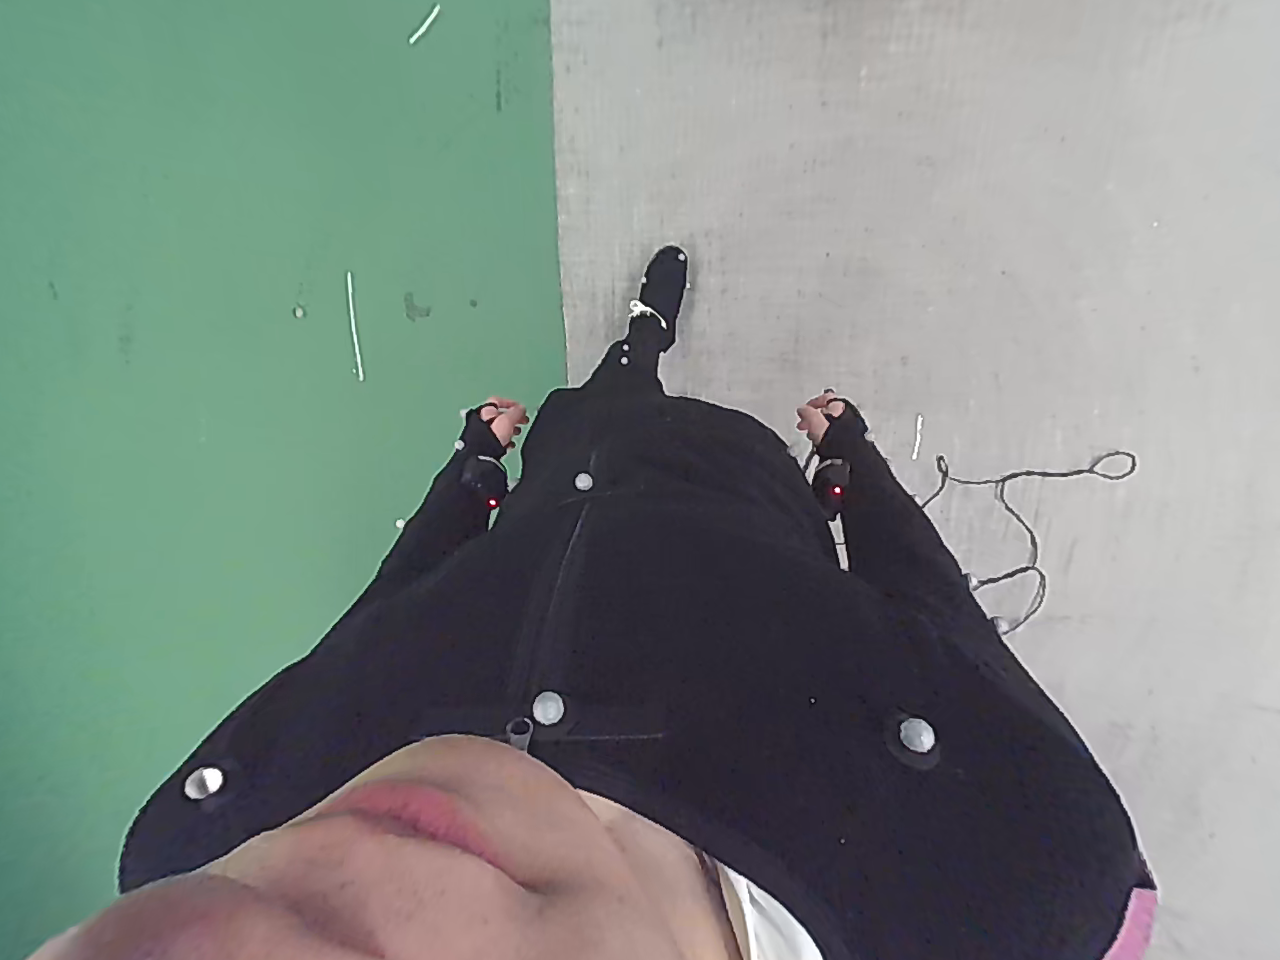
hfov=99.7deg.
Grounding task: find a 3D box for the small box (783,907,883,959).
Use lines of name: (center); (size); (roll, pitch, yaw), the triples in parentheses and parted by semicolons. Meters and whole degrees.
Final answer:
small box: (0.351, 0.916, 0.972); (0.168, 0.176, 0.179); (-3, 105, 10)
